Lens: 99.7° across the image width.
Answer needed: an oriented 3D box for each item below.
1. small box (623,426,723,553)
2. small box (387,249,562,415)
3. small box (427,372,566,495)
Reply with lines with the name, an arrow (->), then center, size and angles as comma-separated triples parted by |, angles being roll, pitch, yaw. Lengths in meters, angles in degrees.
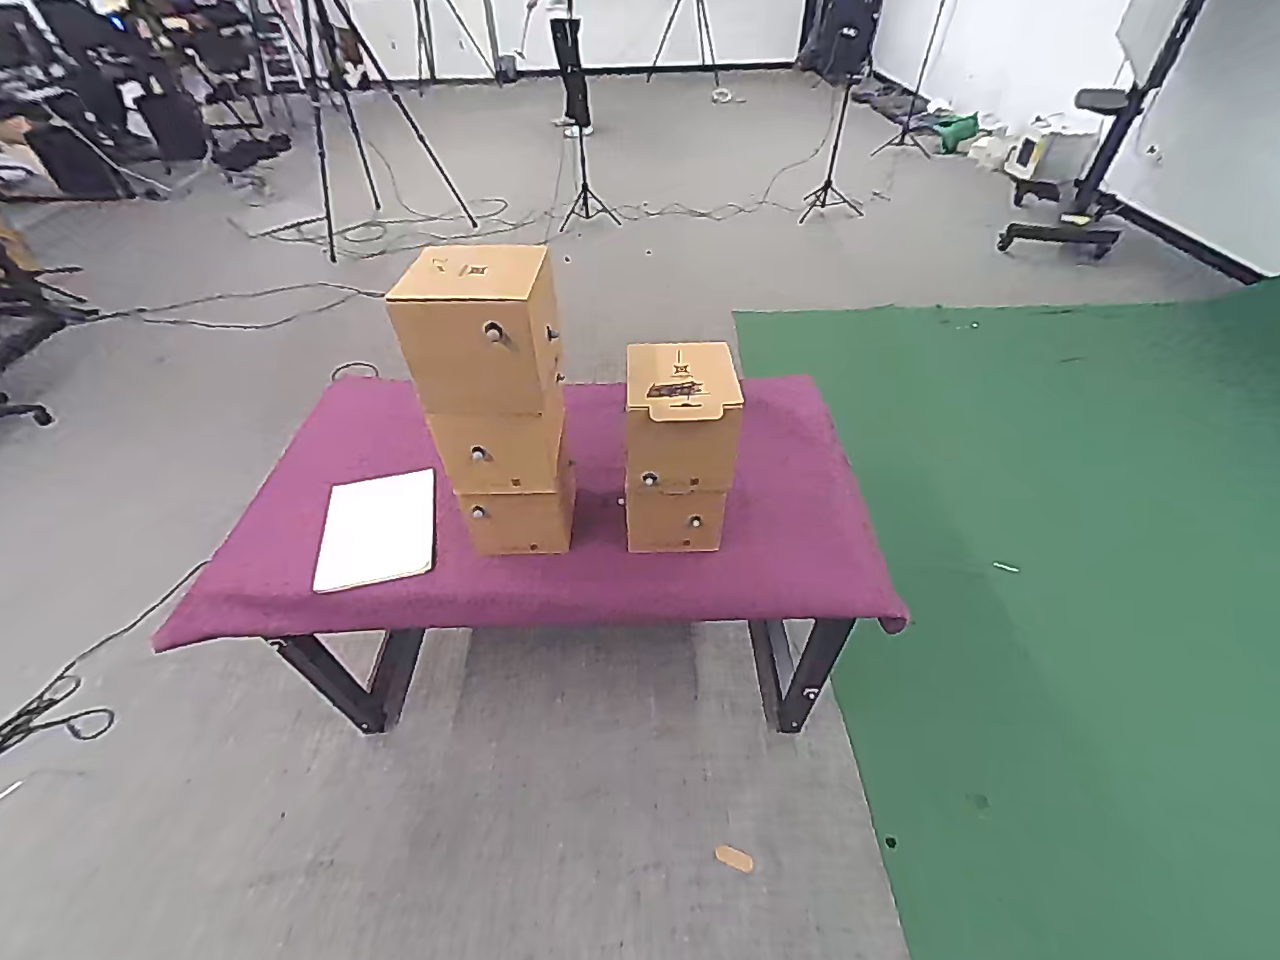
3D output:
small box -> 0.057, 0.020, 0.987 | 0.168, 0.176, 0.179 | 0, 44, 0
small box -> -0.210, -0.203, 0.750 | 0.179, 0.176, 0.168 | 1, 43, 3
small box -> -0.216, -0.089, 0.869 | 0.168, 0.176, 0.179 | 0, 44, 1
